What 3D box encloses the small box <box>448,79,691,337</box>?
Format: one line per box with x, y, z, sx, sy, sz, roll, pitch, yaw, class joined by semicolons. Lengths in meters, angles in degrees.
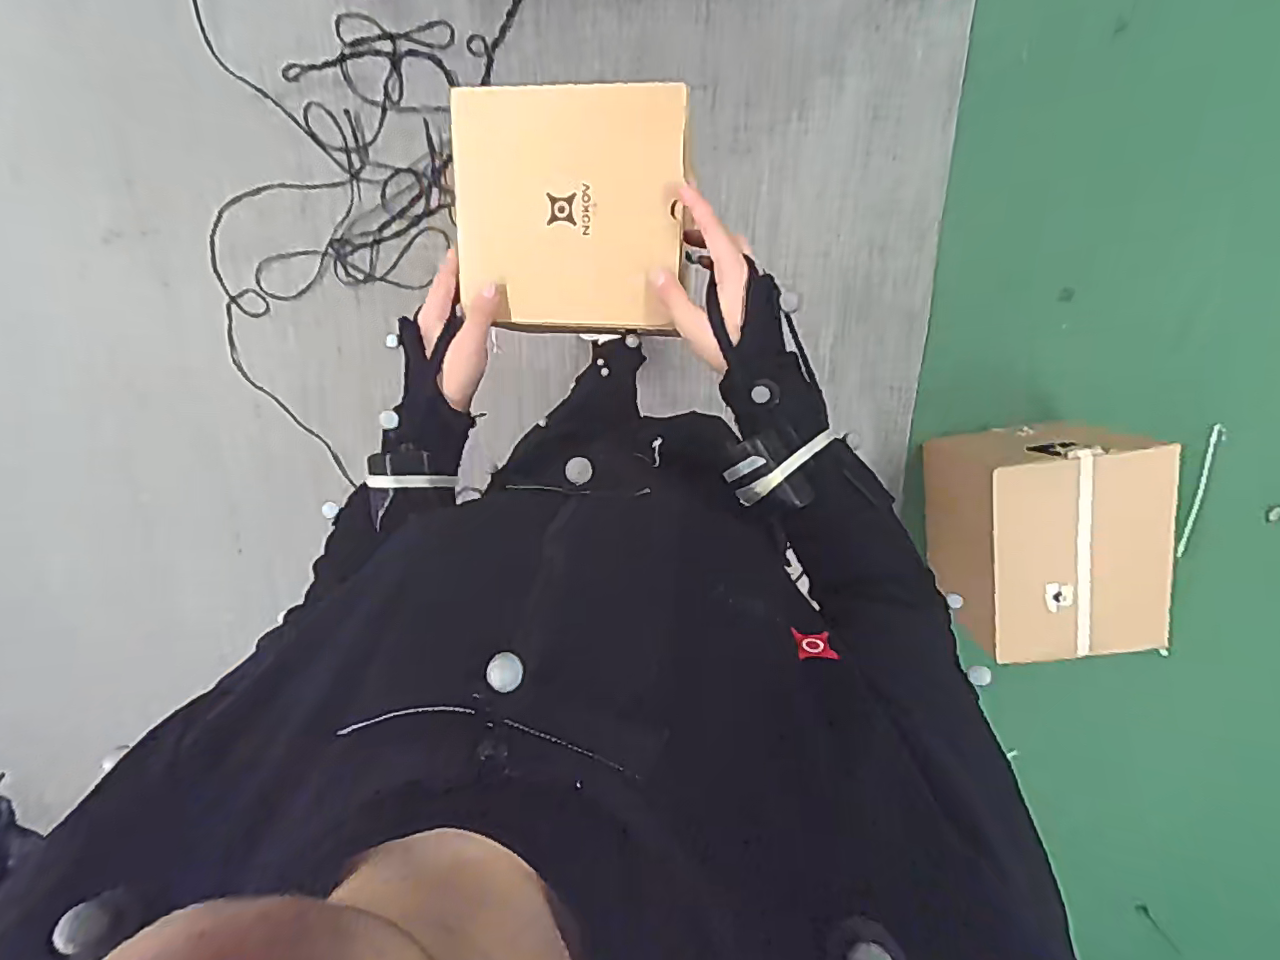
-0.048;-0.217;0.475;0.179;0.176;0.168;3;102;5;small box
